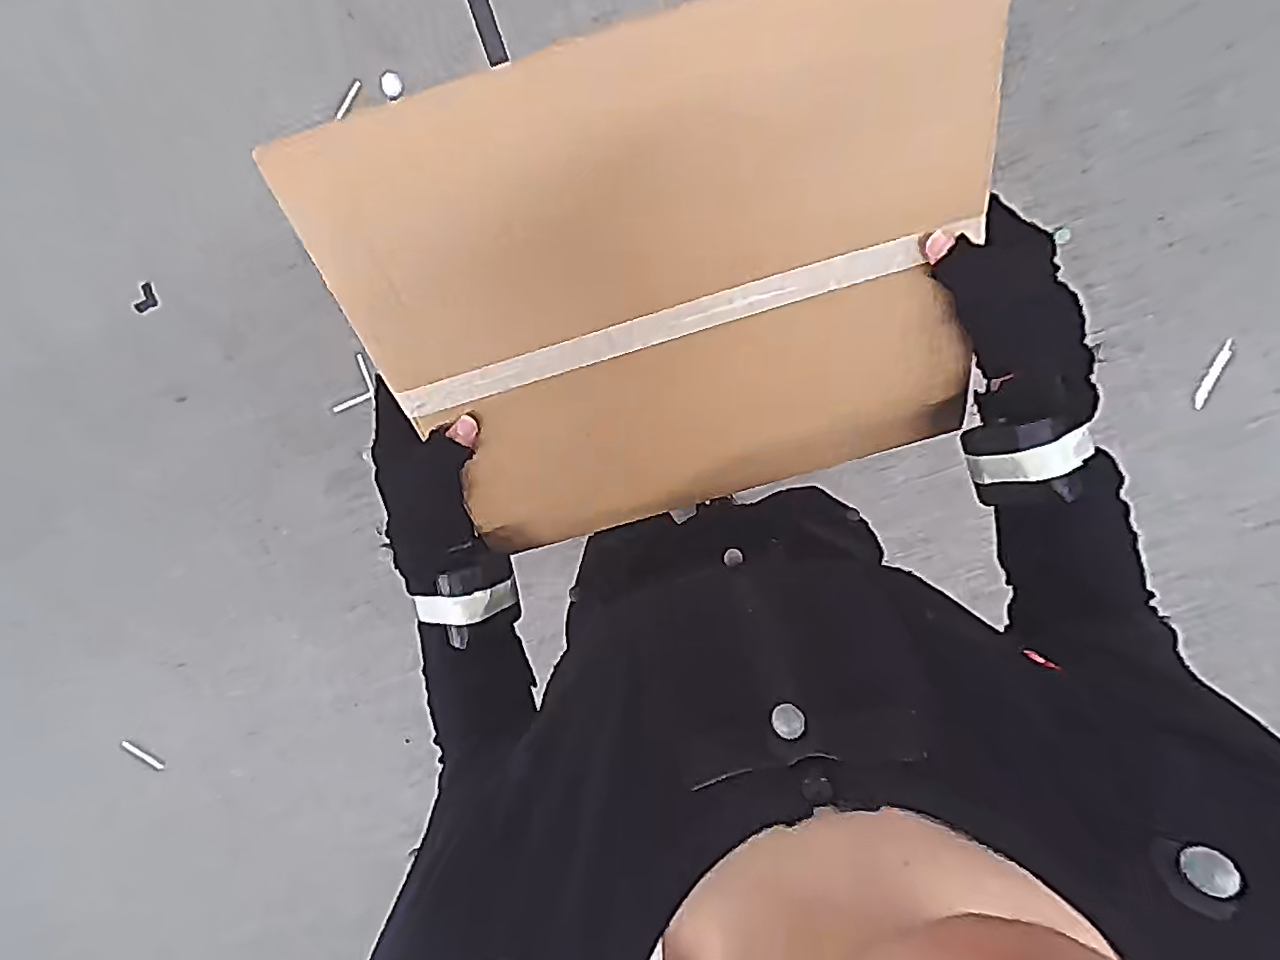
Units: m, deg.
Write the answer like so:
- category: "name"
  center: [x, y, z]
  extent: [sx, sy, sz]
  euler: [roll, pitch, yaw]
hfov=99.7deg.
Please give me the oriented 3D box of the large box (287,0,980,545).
- category: "large box"
  center: [0.009, -0.199, 0.496]
  extent: [0.408, 0.320, 0.320]
  euler: [-16, 126, 3]
